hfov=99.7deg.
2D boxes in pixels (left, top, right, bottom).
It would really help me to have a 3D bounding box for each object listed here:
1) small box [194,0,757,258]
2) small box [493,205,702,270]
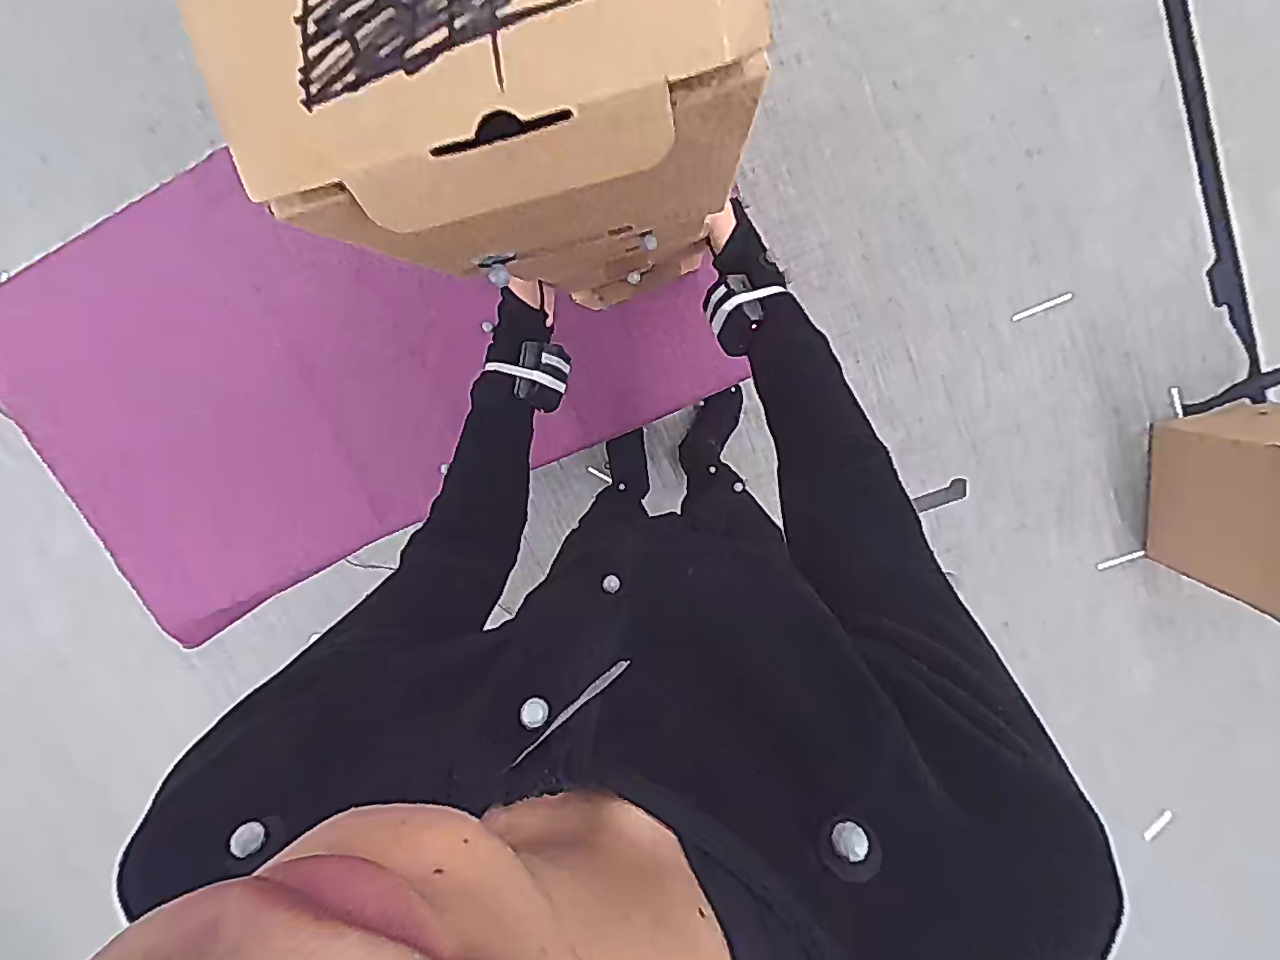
[{"bbox_3d":[-0.055,-0.206,0.227,0.168,0.176,0.179,-12,101,6],"label":"small box"},{"bbox_3d":[-0.048,-0.259,0.383,0.168,0.176,0.179,-12,102,6],"label":"small box"}]
